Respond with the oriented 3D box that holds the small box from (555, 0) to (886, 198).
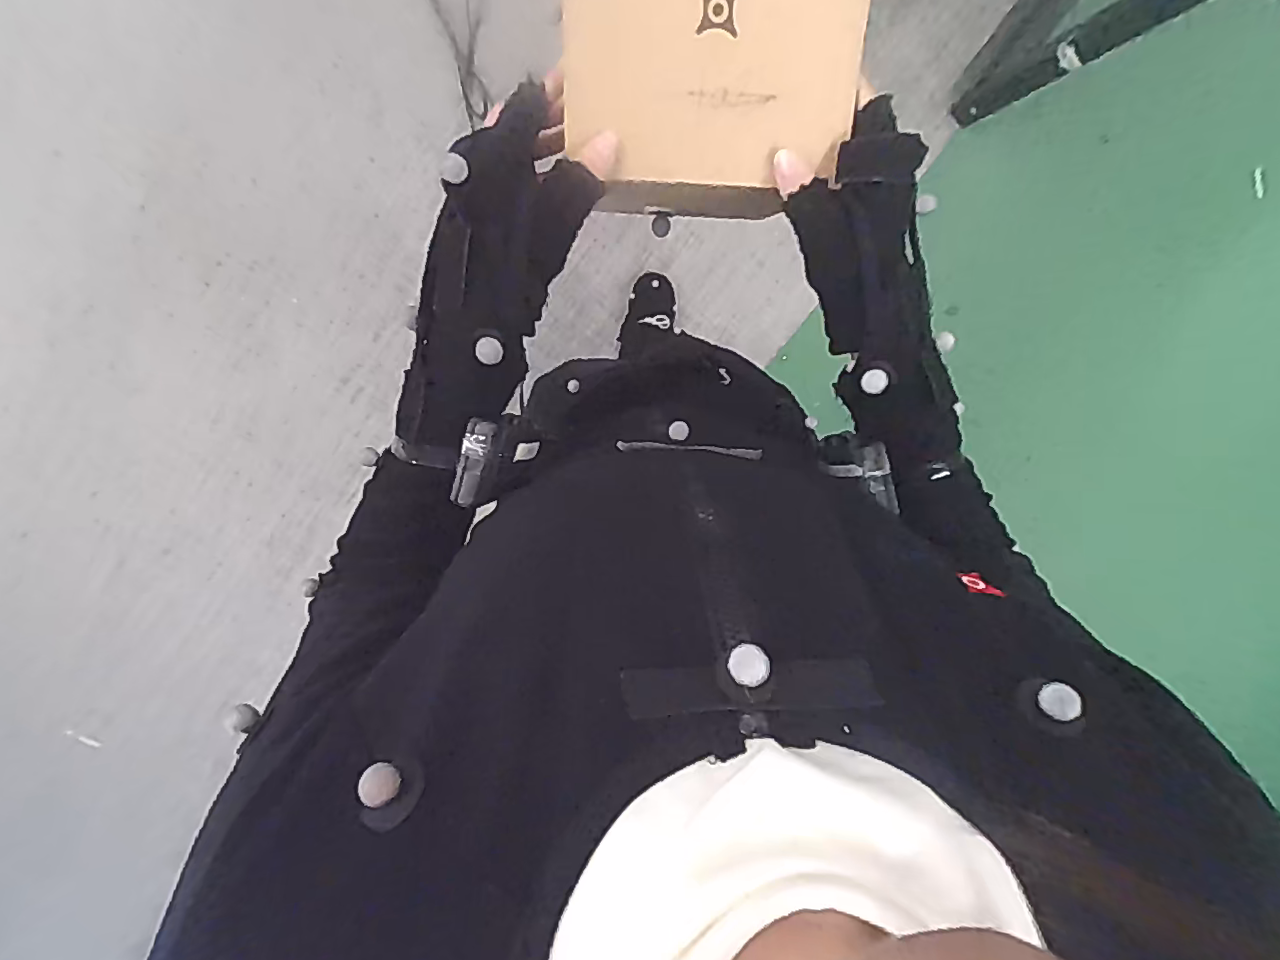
[{"bbox_3d":[0.038,-0.286,0.332,0.168,0.176,0.179,2,111,-3],"label":"small box"}]
